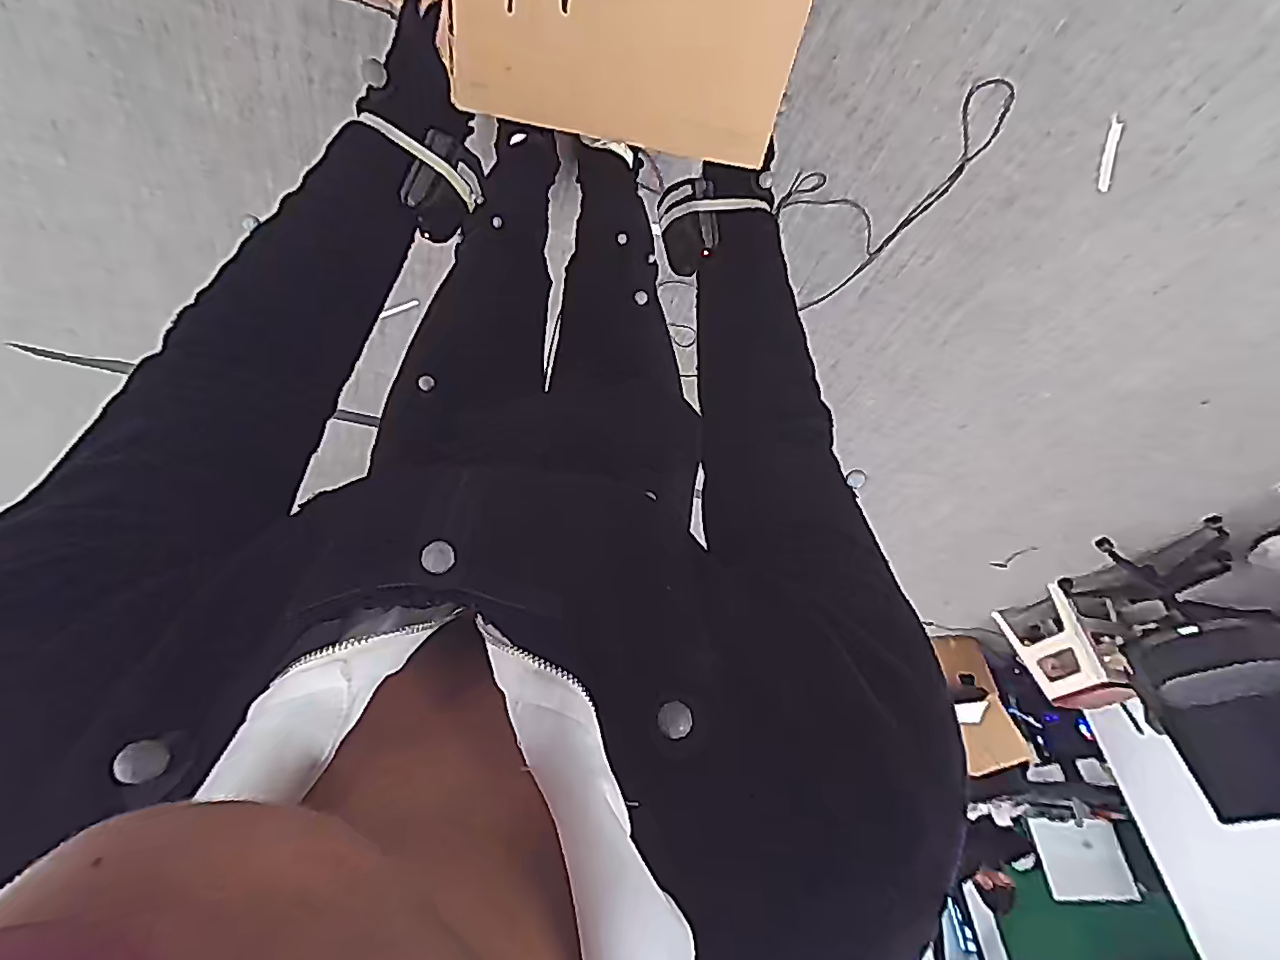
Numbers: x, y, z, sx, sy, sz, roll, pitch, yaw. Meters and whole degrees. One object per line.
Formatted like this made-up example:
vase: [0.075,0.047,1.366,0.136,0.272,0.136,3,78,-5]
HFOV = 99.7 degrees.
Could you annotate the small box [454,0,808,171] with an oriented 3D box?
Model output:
small box: [-0.005,-0.308,0.313,0.179,0.176,0.168,5,135,-11]

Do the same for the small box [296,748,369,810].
small box: [-1.080,1.055,1.908,0.168,0.176,0.179,25,136,-29]
